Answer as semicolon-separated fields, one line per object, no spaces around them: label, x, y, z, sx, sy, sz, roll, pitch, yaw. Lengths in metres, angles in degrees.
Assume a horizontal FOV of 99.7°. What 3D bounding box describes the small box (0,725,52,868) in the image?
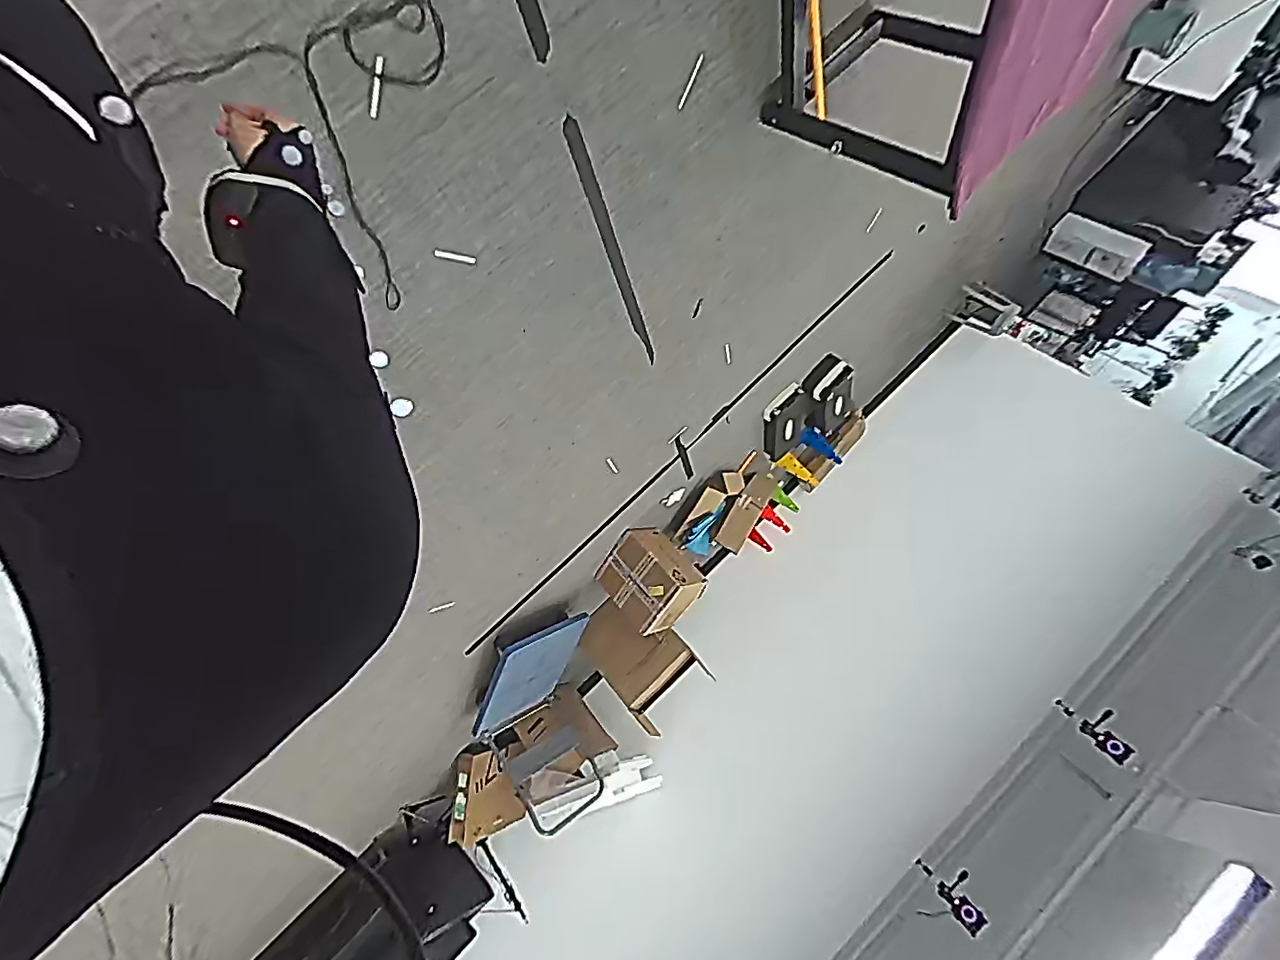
small box;-0.904;0.420;0.659;0.168;0.176;0.179;-42;154;-10
